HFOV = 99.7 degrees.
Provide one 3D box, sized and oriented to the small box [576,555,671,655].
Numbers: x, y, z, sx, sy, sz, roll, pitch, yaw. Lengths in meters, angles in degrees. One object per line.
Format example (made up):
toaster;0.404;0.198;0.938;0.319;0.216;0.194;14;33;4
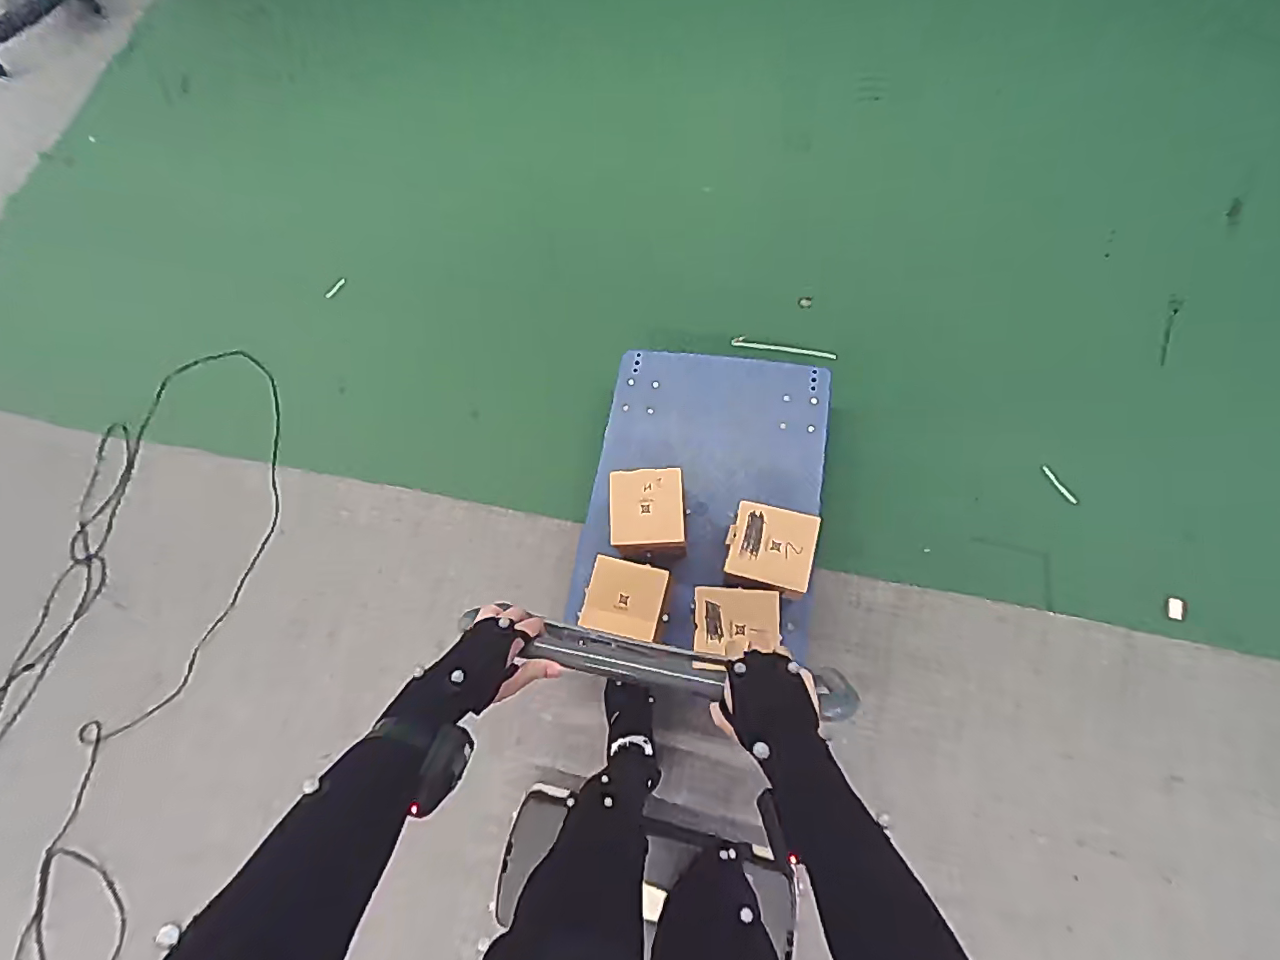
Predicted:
small box;-0.028;0.288;1.223;0.168;0.176;0.179;12;73;11

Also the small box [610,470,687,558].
small box;0.025;0.087;1.281;0.168;0.176;0.179;-3;71;6
